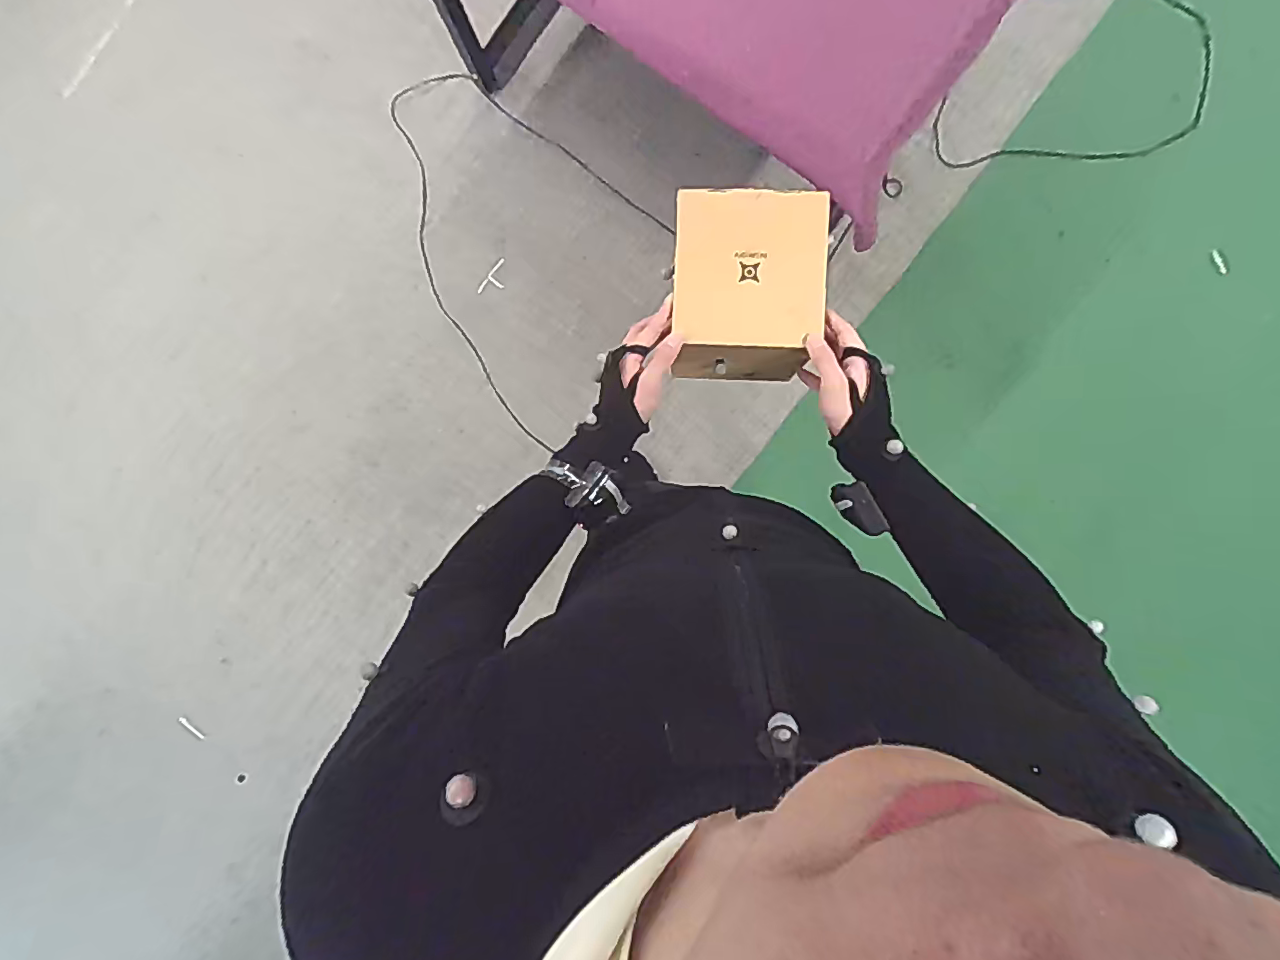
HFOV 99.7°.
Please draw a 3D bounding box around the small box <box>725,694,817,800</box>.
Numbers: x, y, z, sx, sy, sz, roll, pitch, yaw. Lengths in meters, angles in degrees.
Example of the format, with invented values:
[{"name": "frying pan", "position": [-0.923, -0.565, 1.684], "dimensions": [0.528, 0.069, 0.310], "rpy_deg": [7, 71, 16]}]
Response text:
[{"name": "small box", "position": [0.362, 0.742, 1.524], "dimensions": [0.179, 0.176, 0.168], "rpy_deg": [40, 92, 3]}]
